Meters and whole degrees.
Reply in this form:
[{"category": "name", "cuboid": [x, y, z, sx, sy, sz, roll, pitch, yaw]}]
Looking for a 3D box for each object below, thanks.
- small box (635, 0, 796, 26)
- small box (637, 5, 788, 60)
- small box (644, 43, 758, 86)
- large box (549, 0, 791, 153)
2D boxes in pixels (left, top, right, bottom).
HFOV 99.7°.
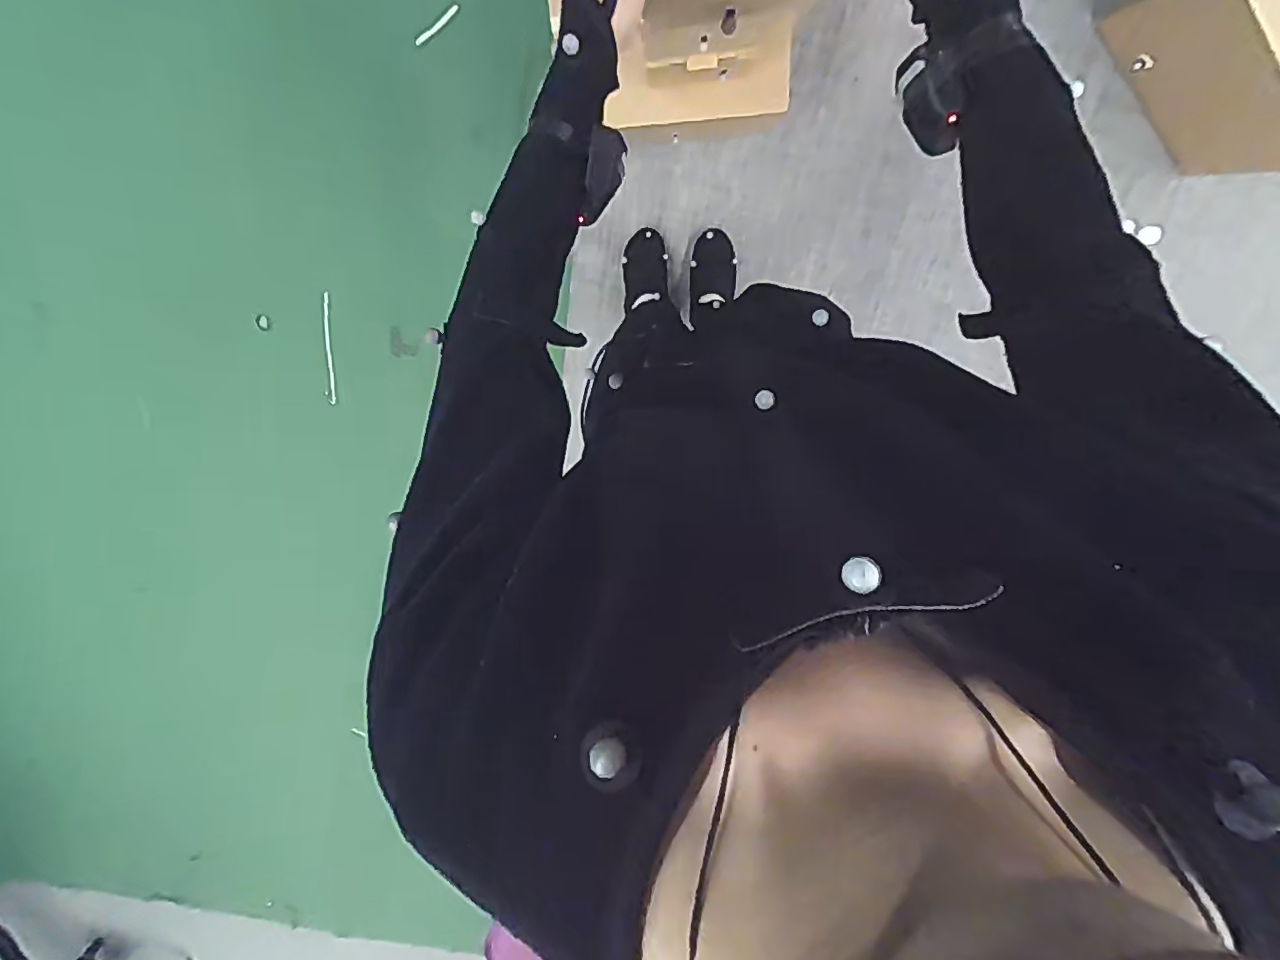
[{"category": "small box", "cuboid": [0.076, -0.522, 0.467, 0.179, 0.176, 0.168, -4, 120, 5]}, {"category": "small box", "cuboid": [0.082, -0.645, 0.667, 0.179, 0.176, 0.168, -3, 116, 6]}, {"category": "small box", "cuboid": [0.090, -0.716, 0.815, 0.168, 0.176, 0.179, -2, 116, 5]}, {"category": "large box", "cuboid": [0.063, -0.834, 1.032, 0.408, 0.320, 0.320, -2, 115, 7]}]
